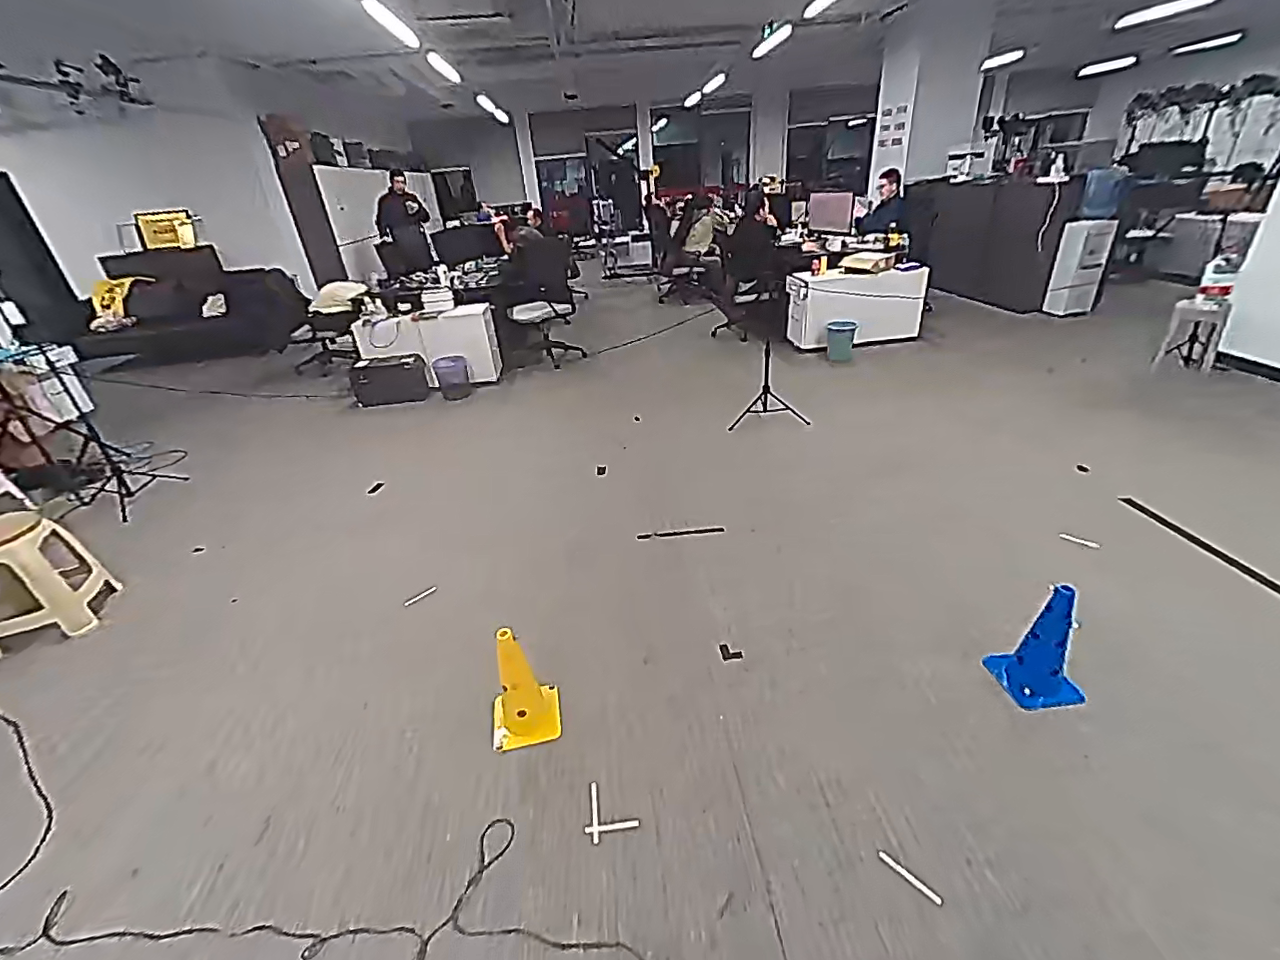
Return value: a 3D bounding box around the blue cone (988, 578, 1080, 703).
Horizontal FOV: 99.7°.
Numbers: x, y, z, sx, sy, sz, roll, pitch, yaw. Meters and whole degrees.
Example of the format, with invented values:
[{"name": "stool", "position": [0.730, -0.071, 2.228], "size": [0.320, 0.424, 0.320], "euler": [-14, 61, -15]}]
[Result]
[{"name": "blue cone", "position": [1.176, 0.448, 1.558], "size": [0.193, 0.380, 0.192], "euler": [-6, 28, -1]}]
